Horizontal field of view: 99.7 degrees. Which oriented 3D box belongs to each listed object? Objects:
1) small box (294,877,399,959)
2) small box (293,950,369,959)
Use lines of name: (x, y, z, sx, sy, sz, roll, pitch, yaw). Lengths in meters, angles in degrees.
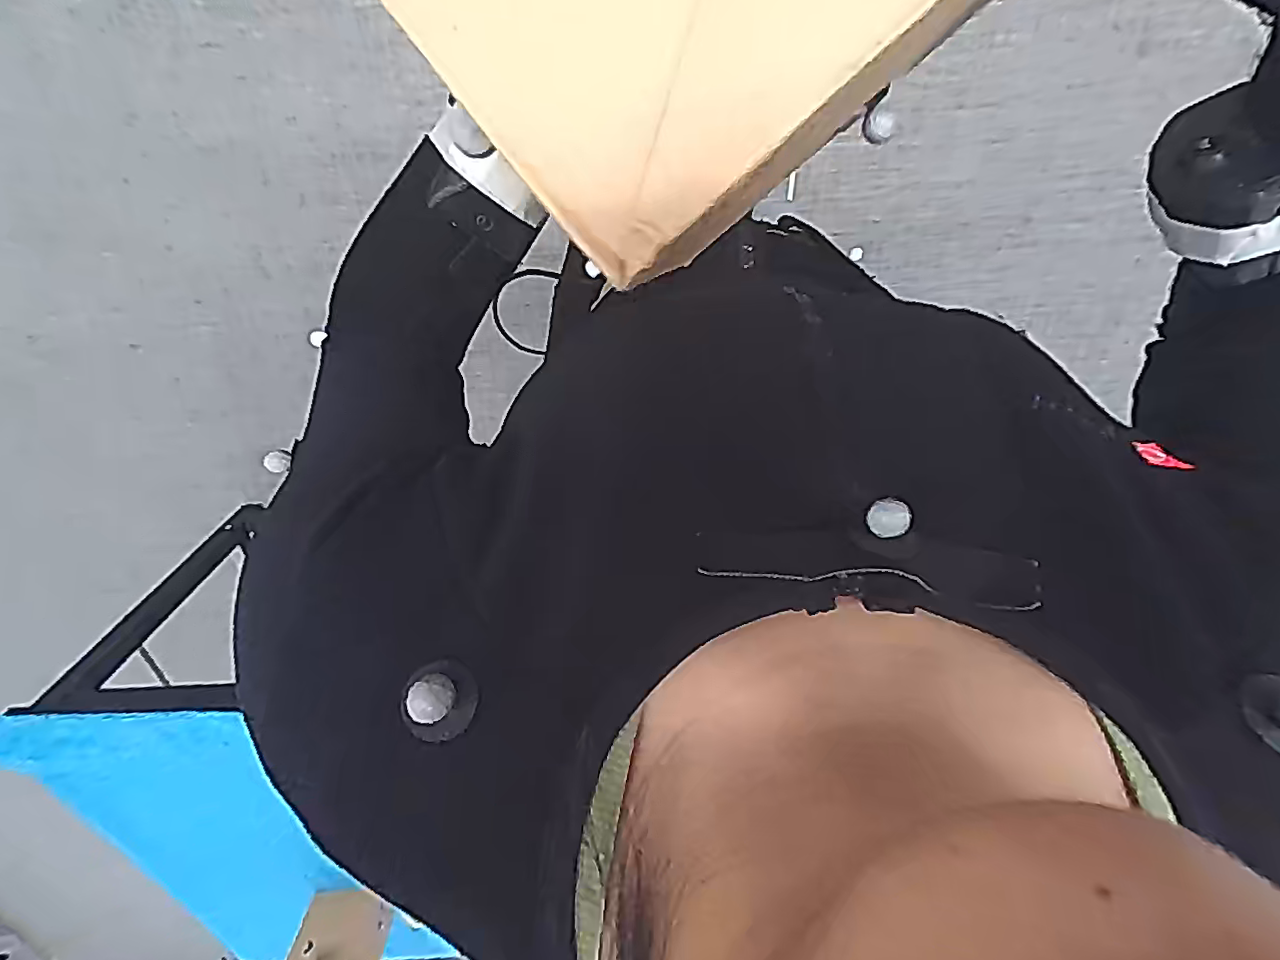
small box: (-0.789, 1.211, 1.472, 0.179, 0.176, 0.168, -2, 124, -1)
small box: (-0.776, 1.297, 1.329, 0.168, 0.176, 0.179, -2, 122, 1)
